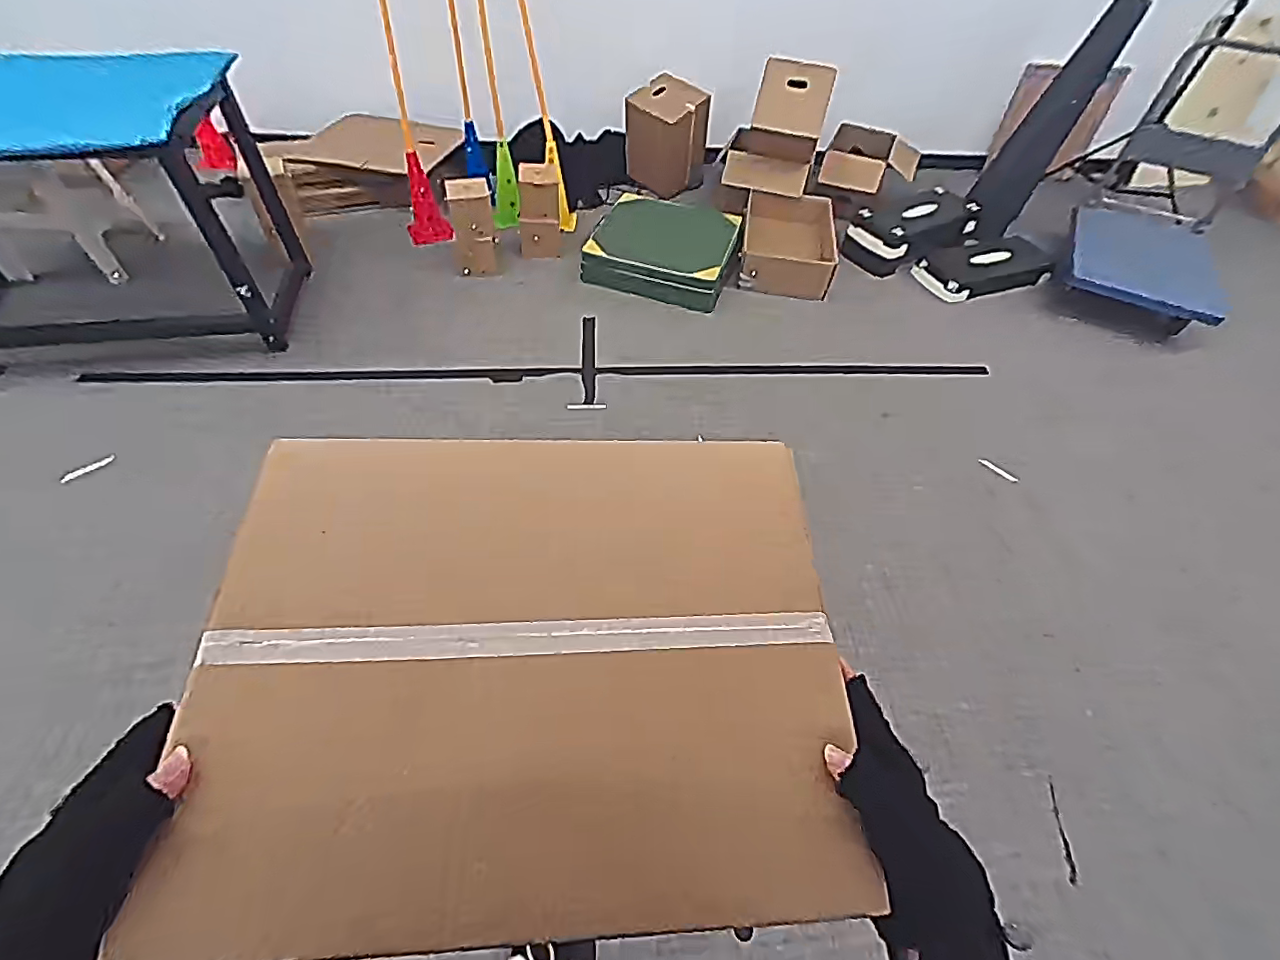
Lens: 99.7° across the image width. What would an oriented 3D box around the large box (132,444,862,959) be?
[{"bbox_3d":[-0.084,0.178,0.496,0.408,0.320,0.320,0,60,-5],"label":"large box"}]
